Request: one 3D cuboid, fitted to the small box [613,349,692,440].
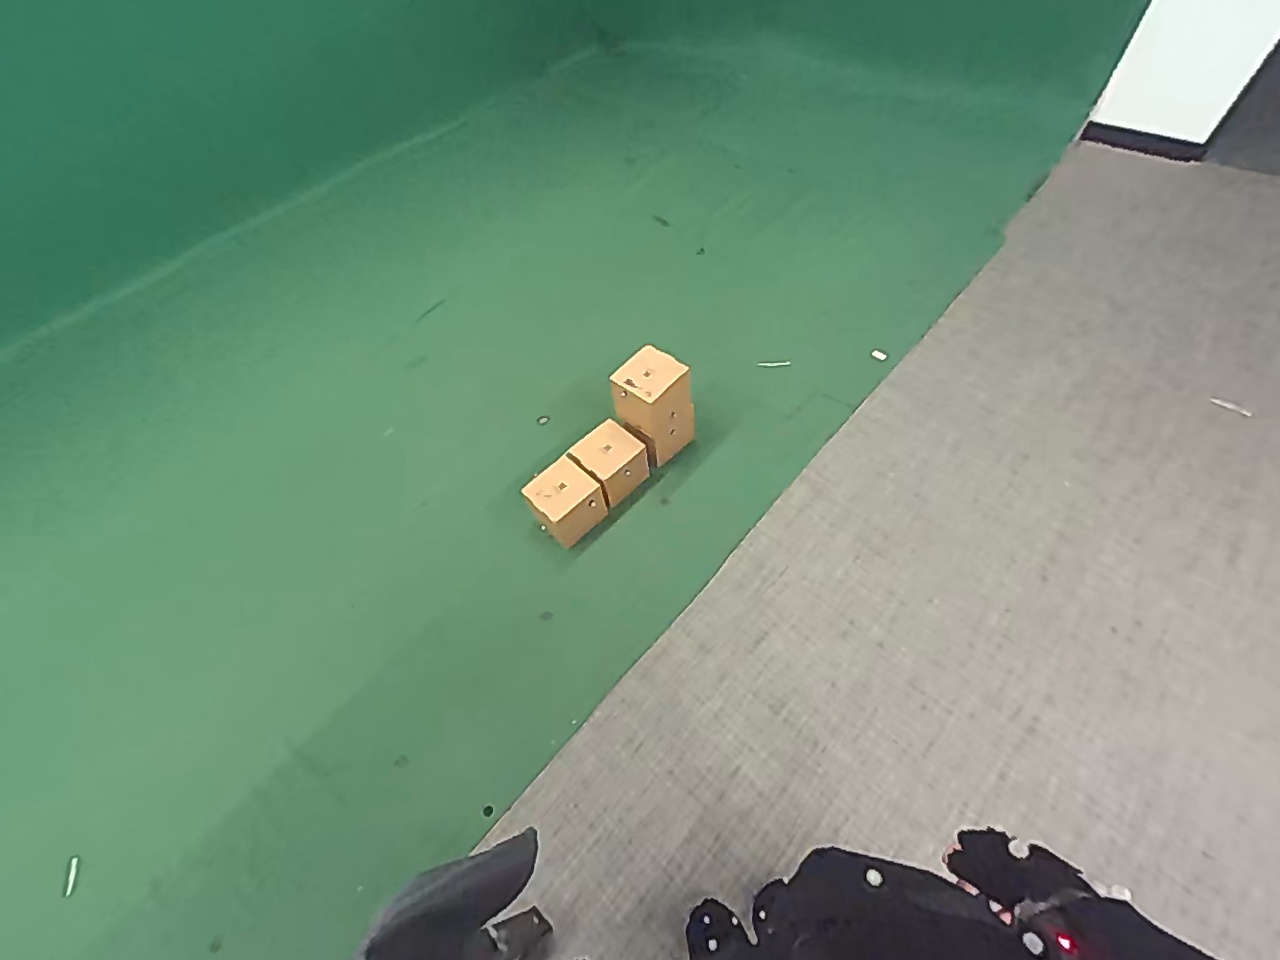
[{"bbox_3d":[0.040,-0.256,1.635,0.168,0.176,0.179,36,66,26],"label":"small box"}]
